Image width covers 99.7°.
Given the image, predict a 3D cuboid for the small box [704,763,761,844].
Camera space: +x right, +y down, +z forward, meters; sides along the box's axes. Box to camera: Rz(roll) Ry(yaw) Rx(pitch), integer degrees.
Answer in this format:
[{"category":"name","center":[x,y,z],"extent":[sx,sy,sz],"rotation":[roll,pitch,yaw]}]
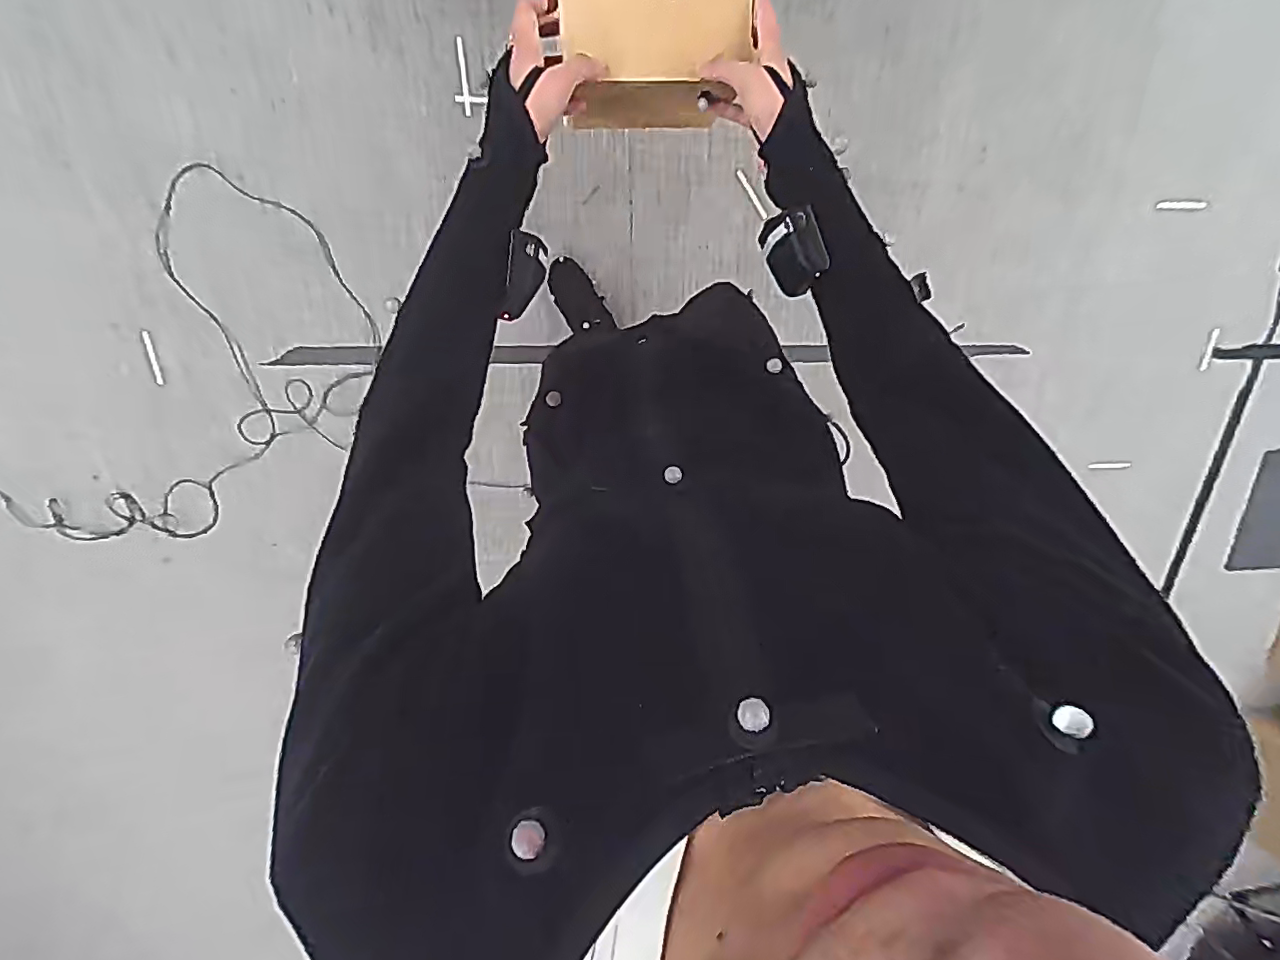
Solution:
[{"category":"small box","center":[0.326,1.146,1.924],"extent":[0.168,0.176,0.179],"rotation":[-7,111,-5]}]

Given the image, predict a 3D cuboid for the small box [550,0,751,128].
[{"category":"small box","center":[0.001,-0.463,0.533],"extent":[0.179,0.176,0.168],"rotation":[-6,111,-8]}]
